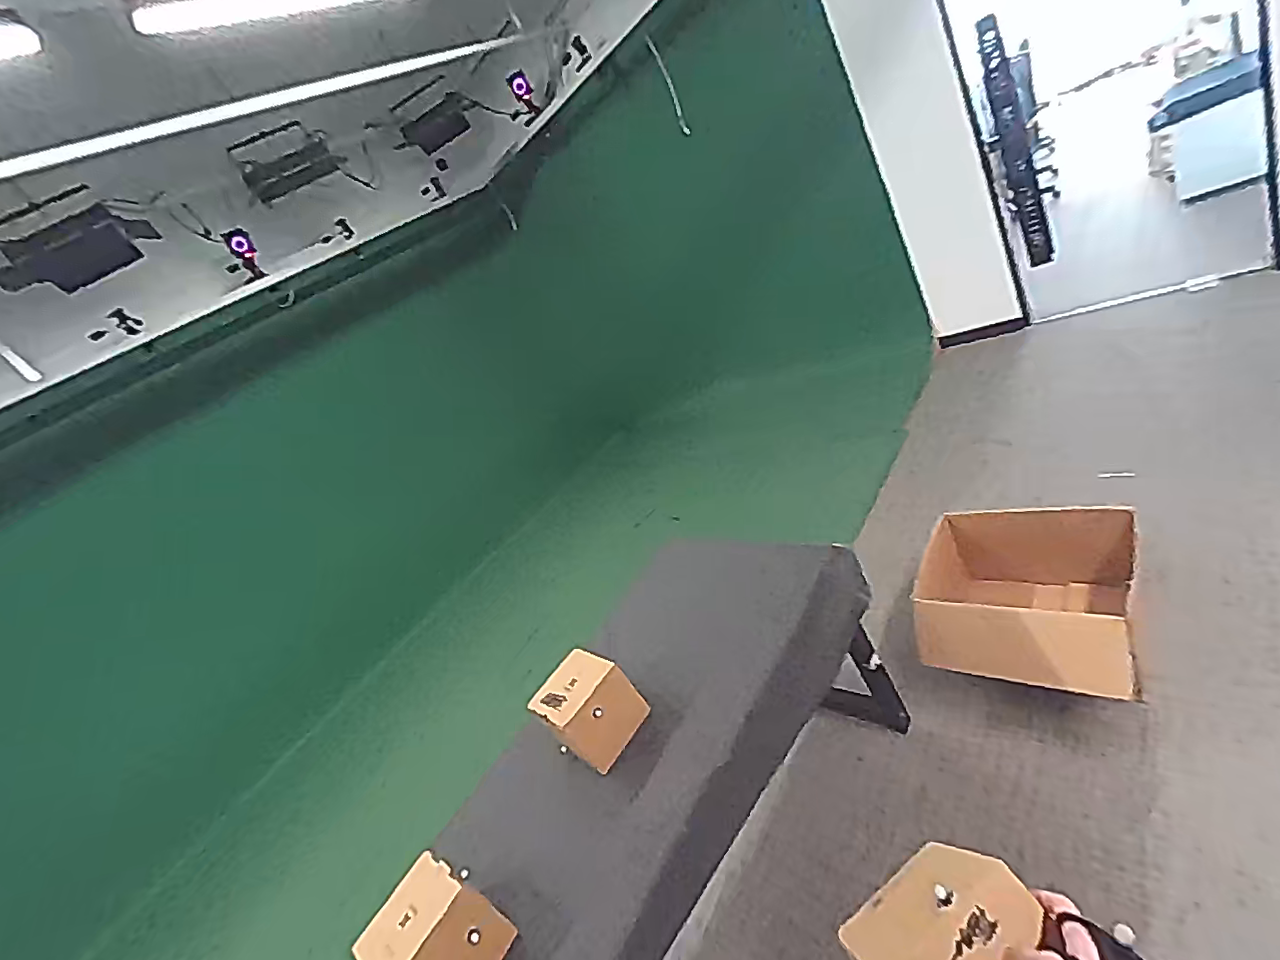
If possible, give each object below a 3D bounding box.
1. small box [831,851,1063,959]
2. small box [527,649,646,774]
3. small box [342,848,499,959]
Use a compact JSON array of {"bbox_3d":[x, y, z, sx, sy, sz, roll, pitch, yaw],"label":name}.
[{"bbox_3d":[0.329,0.522,0.553,0.168,0.176,0.179,-35,64,-14],"label":"small box"},{"bbox_3d":[-0.118,0.529,1.241,0.179,0.176,0.168,-44,27,-27],"label":"small box"},{"bbox_3d":[-0.375,0.809,0.954,0.168,0.176,0.179,-9,32,46],"label":"small box"}]
